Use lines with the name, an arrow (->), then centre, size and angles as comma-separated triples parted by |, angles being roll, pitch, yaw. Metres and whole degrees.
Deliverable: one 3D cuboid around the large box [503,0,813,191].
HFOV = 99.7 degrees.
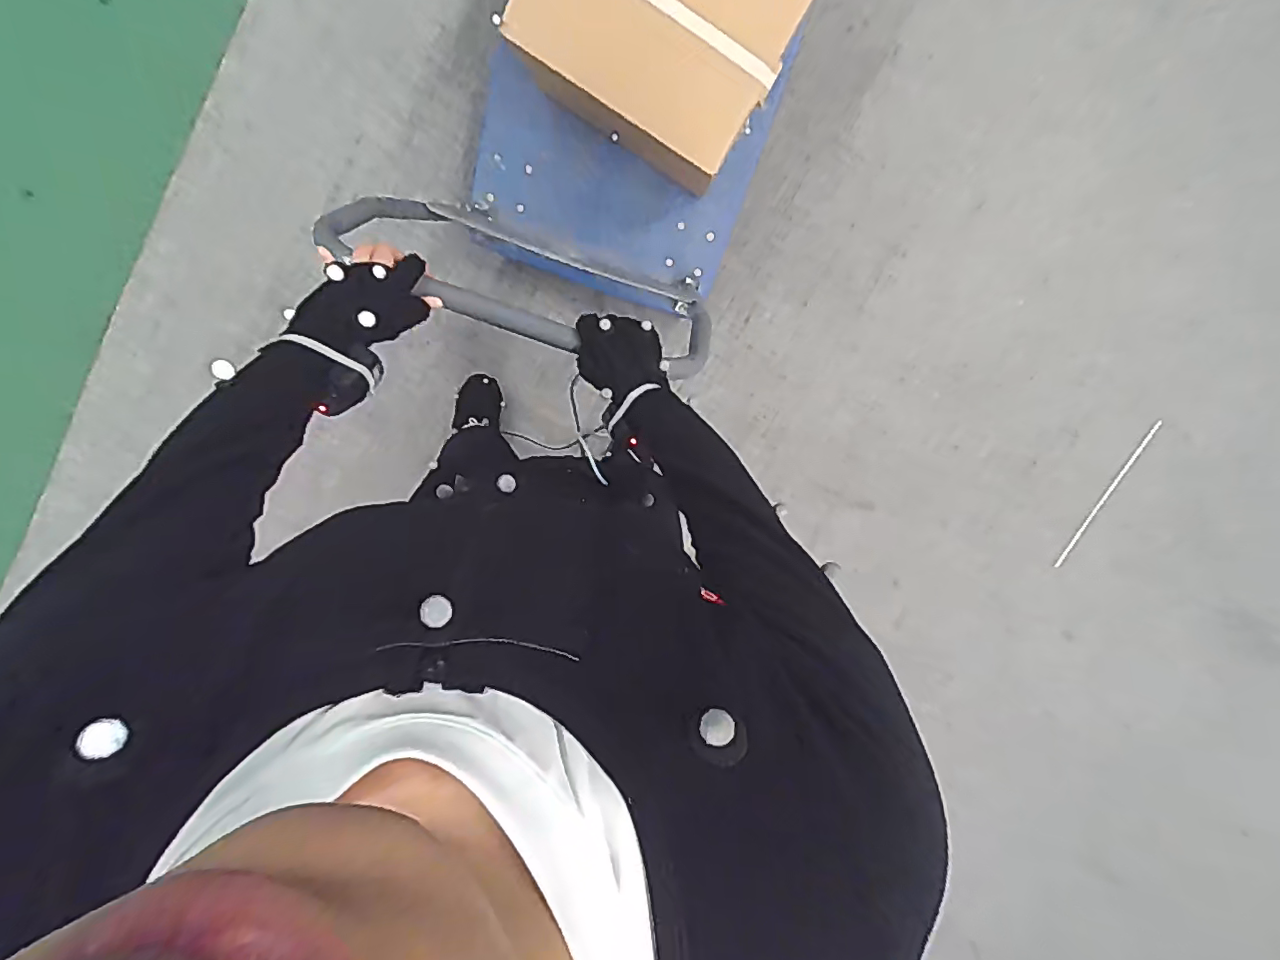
large box -> 0.039, -0.781, 0.961 | 0.408, 0.320, 0.320 | 30, 110, -8
